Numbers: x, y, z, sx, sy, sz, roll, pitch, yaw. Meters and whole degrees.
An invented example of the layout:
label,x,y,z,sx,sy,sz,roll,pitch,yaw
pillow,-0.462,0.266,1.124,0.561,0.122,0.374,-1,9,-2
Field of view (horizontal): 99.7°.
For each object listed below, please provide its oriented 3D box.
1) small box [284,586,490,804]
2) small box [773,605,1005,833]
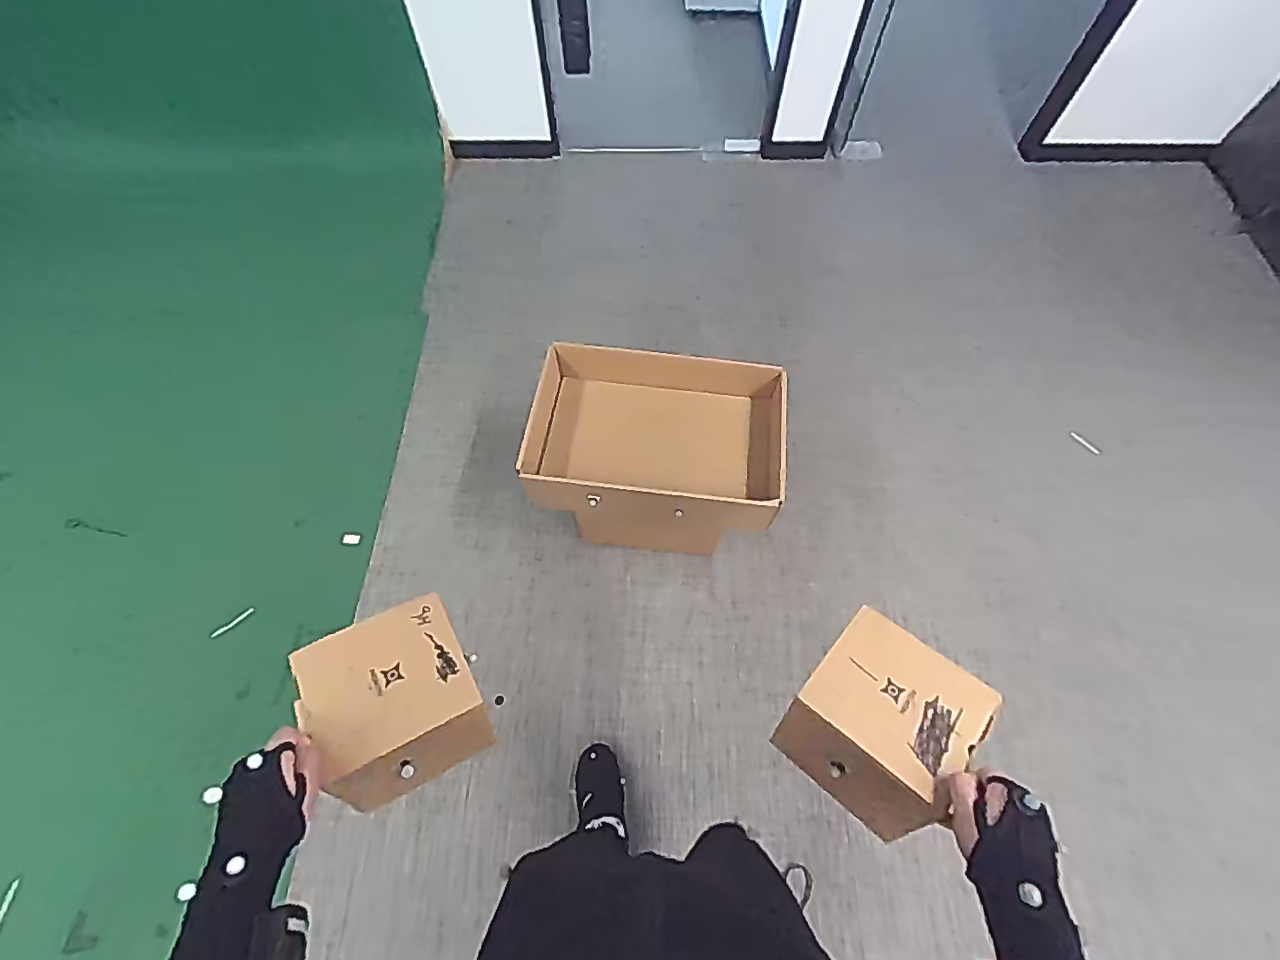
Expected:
label,x,y,z,sx,sy,sz,roll,pitch,yaw
small box,-0.305,0.270,0.676,0.179,0.176,0.168,-22,56,-24
small box,0.290,0.295,0.662,0.179,0.176,0.168,36,57,28
